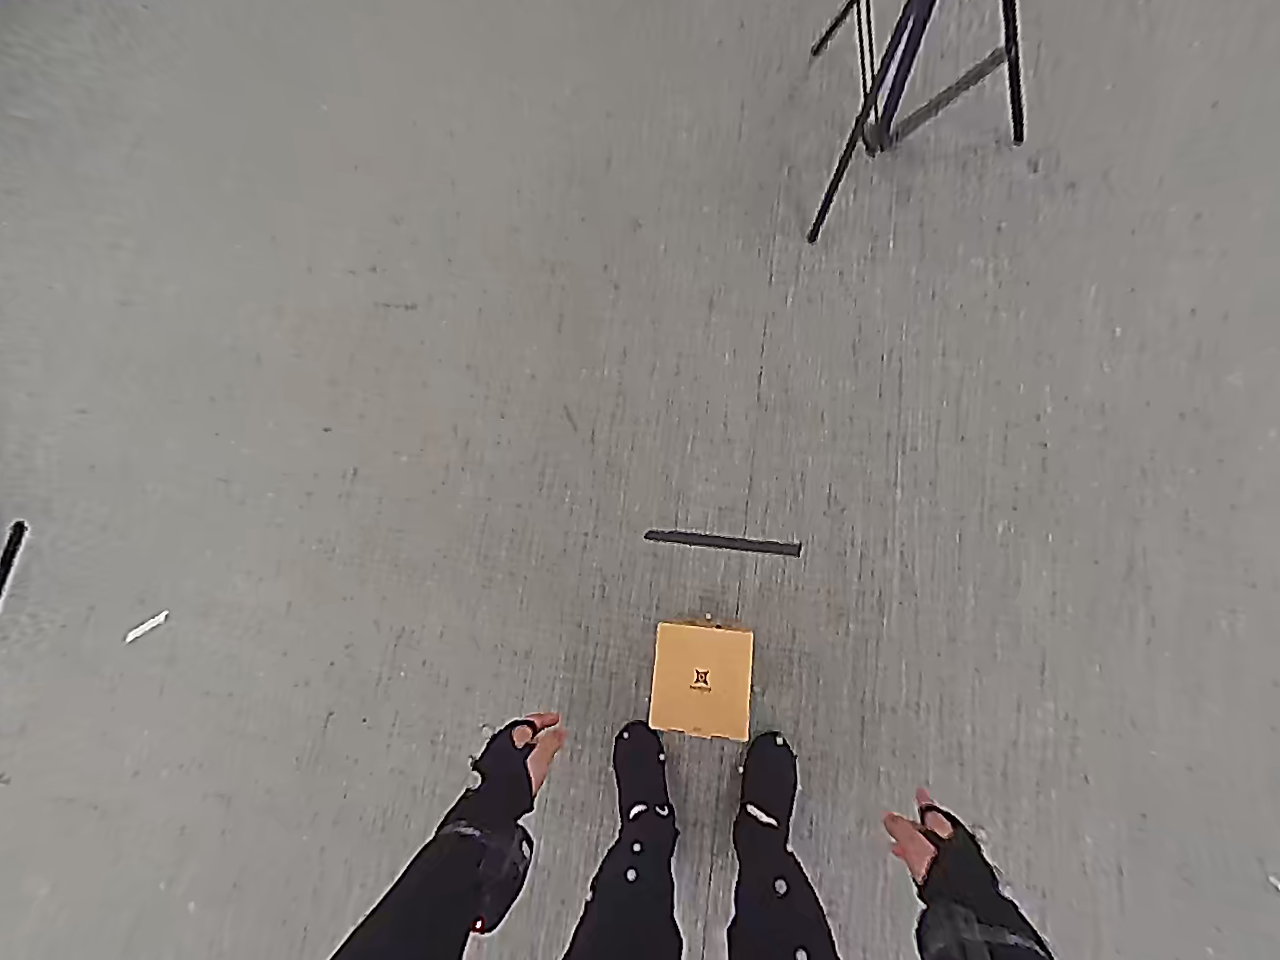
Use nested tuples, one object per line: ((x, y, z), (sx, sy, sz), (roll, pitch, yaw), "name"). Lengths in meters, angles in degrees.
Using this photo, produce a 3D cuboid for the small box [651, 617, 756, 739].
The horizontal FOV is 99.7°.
((0.116, 0.345, 0.977), (0.168, 0.176, 0.179), (3, 79, 9), "small box")
